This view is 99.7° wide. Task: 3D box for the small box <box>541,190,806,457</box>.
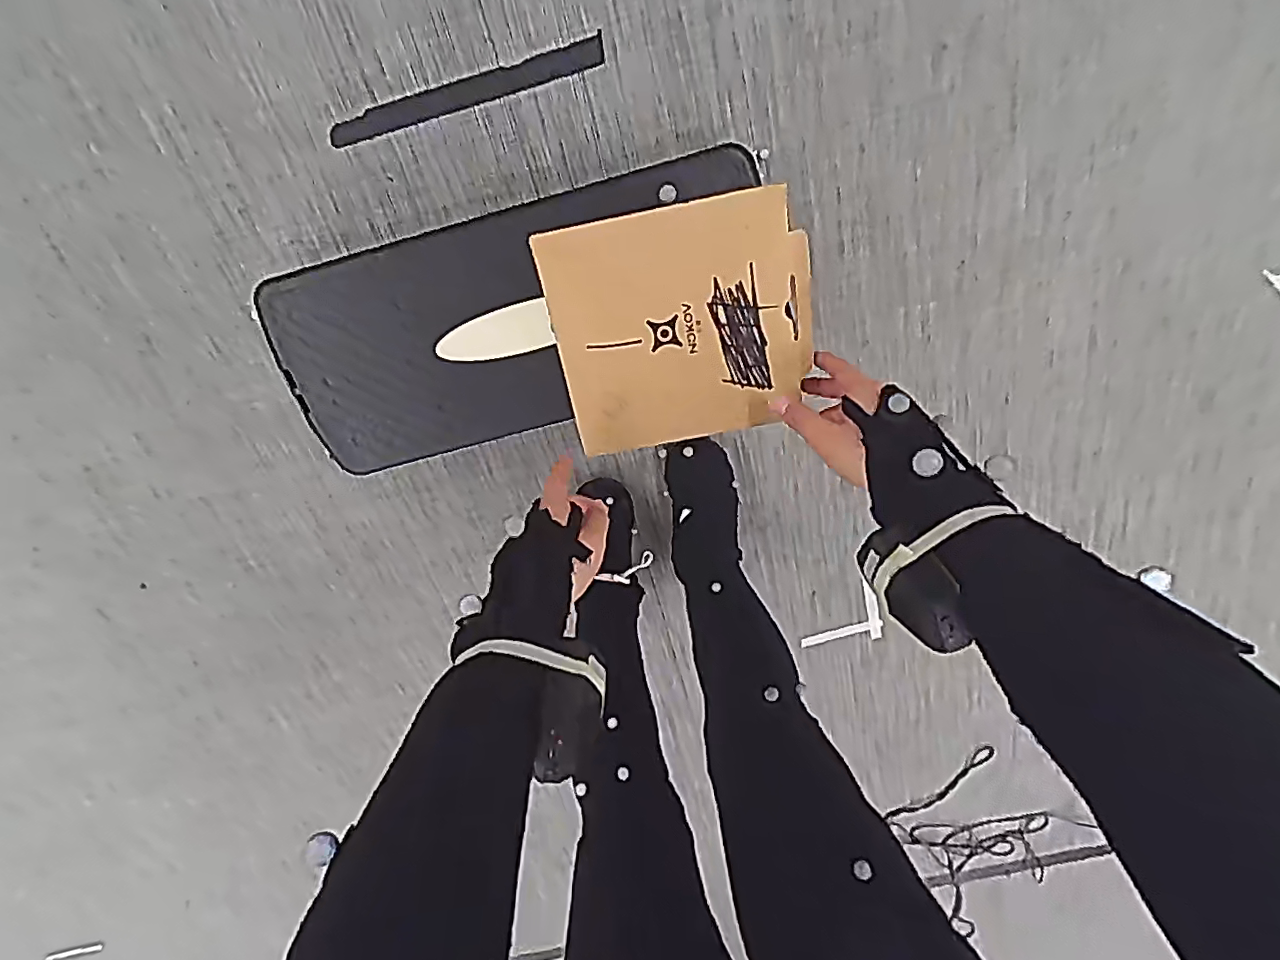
[{"bbox_3d":[0.027,-0.138,0.462,0.179,0.176,0.168,-10,114,3],"label":"small box"}]
